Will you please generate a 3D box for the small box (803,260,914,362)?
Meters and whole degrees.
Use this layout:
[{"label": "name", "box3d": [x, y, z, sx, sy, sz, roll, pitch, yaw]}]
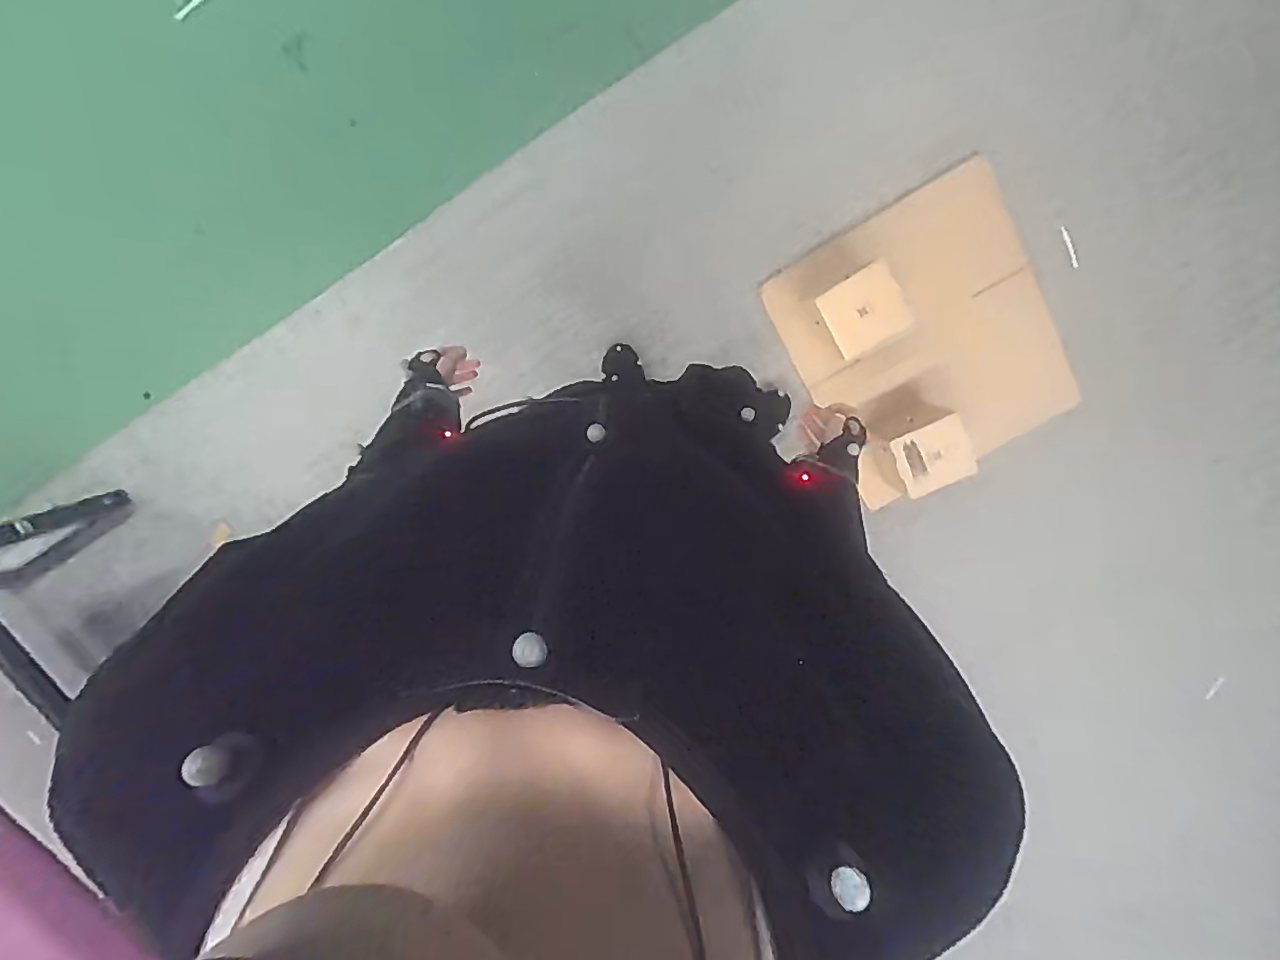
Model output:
[{"label": "small box", "box3d": [0.511, -0.399, 1.302, 0.179, 0.176, 0.168, -31, 102, 8]}]
